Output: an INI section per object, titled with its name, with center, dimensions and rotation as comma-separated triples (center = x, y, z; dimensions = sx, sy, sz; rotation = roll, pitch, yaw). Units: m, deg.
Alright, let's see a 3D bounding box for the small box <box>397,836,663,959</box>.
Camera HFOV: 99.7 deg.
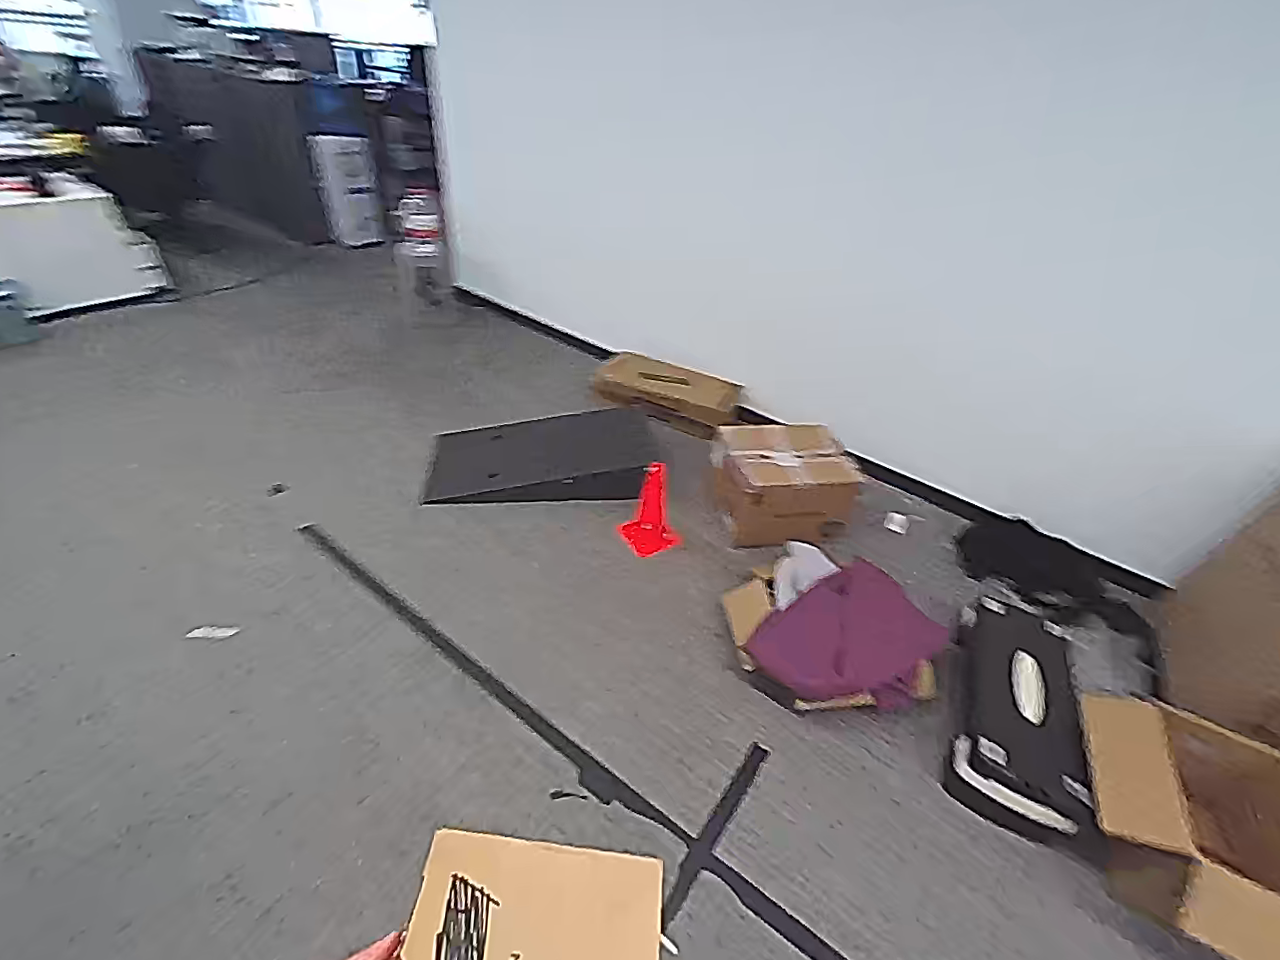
[small box]
center = -0.085, 0.392, 0.397
dimensions = 0.179, 0.176, 0.168
rotation = 9, 40, -3
